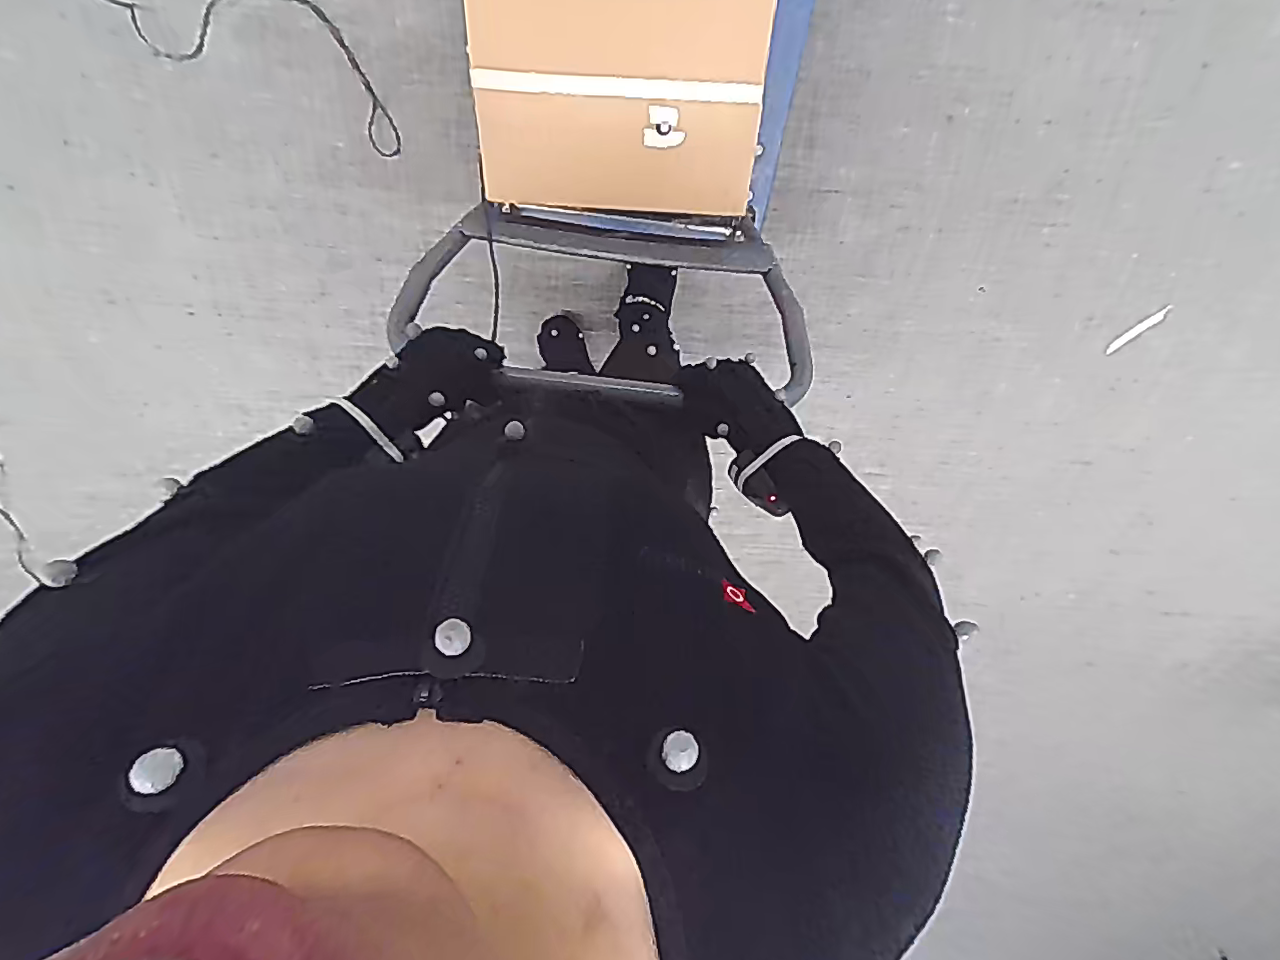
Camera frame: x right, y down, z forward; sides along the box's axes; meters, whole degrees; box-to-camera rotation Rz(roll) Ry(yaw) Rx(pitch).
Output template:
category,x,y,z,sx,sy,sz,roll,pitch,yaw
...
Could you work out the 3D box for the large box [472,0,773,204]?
category,x,y,z,sx,sy,sz,roll,pitch,yaw
large box,-0.027,-0.653,0.881,0.408,0.320,0.320,2,128,-2
